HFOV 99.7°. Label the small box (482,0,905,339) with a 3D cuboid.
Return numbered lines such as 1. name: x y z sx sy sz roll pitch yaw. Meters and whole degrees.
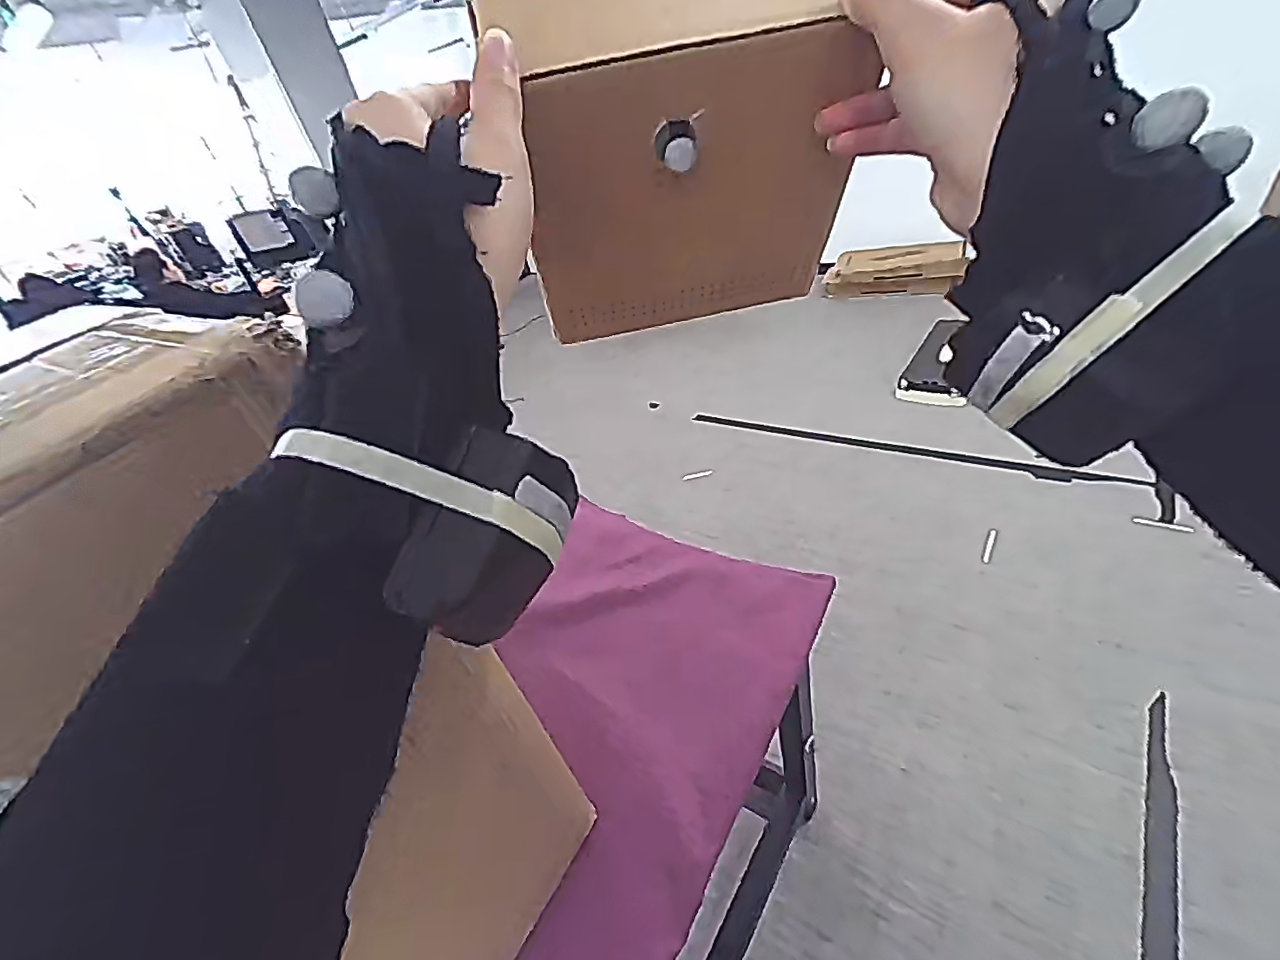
1. small box: 0.016 -0.210 0.324 0.179 0.176 0.168 -12 67 -1
